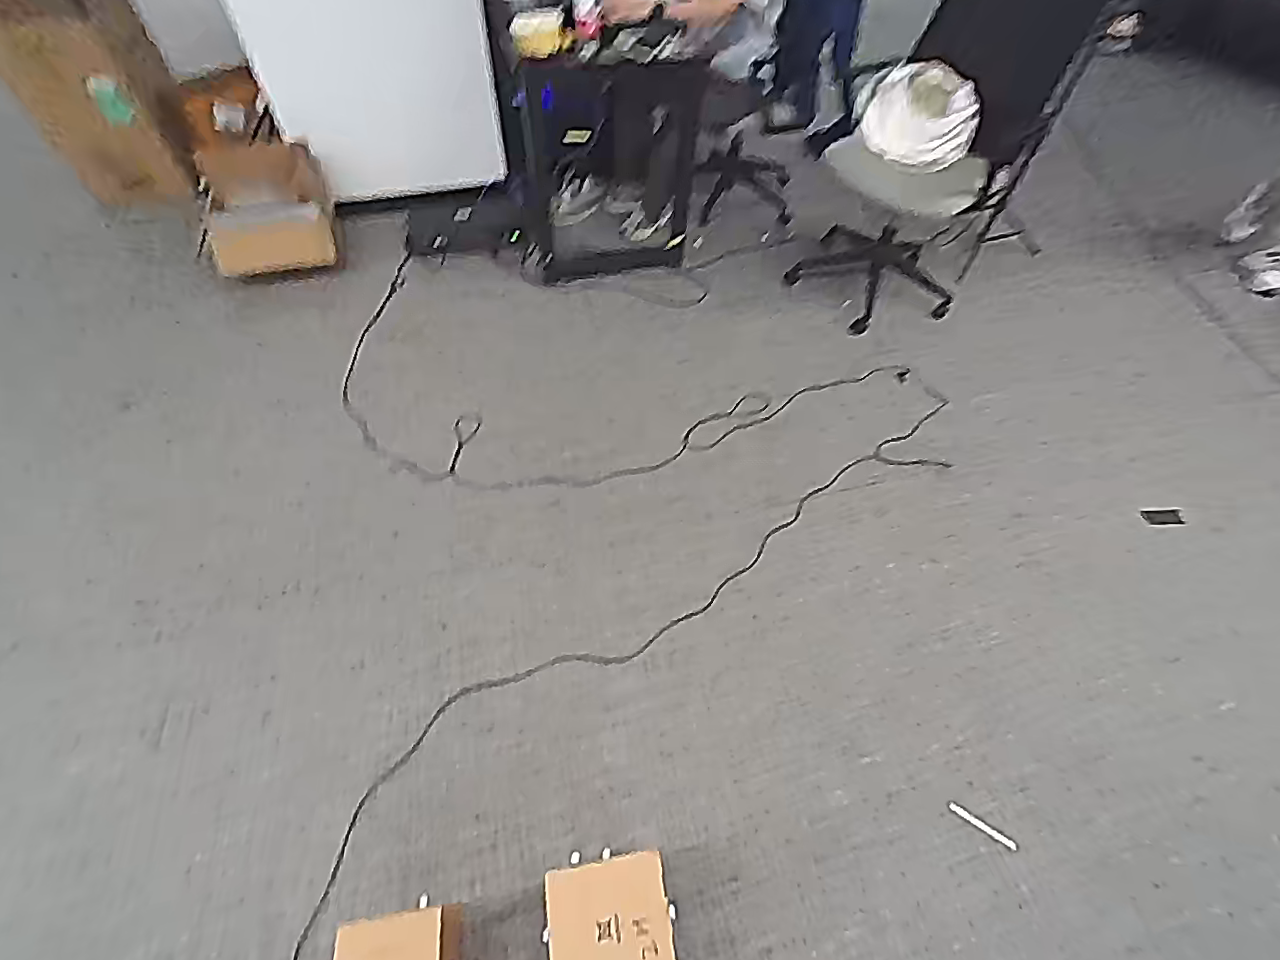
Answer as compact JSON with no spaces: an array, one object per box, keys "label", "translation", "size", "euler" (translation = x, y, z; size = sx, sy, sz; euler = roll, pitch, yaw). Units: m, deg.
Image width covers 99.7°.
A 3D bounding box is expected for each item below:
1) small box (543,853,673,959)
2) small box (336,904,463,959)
[{"label":"small box","translation":[-0.049,0.689,0.828],"size":[0.179,0.176,0.168],"euler":[-6,55,-8]},{"label":"small box","translation":[-0.400,0.839,0.908],"size":[0.168,0.176,0.179],"euler":[-5,55,-7]}]
